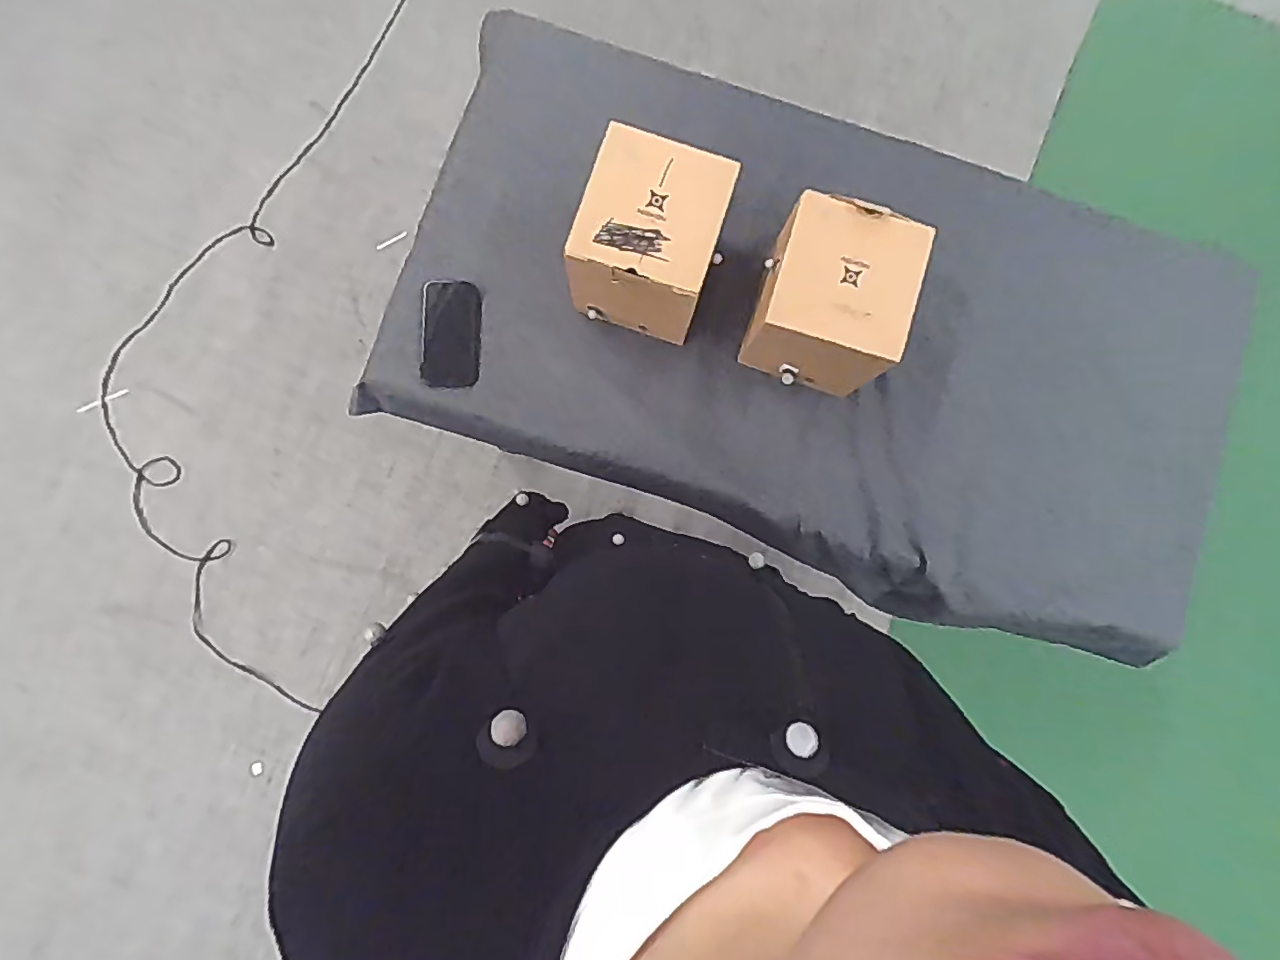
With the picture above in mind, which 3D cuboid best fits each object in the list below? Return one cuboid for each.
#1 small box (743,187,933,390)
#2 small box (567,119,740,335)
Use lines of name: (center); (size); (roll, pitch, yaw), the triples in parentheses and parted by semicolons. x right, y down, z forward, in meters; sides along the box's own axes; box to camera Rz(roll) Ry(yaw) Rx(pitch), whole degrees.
small box: (0.249, -0.240, 0.720); (0.168, 0.176, 0.179); (17, 86, 0)
small box: (0.016, -0.317, 0.714); (0.168, 0.176, 0.179); (18, 83, 0)
